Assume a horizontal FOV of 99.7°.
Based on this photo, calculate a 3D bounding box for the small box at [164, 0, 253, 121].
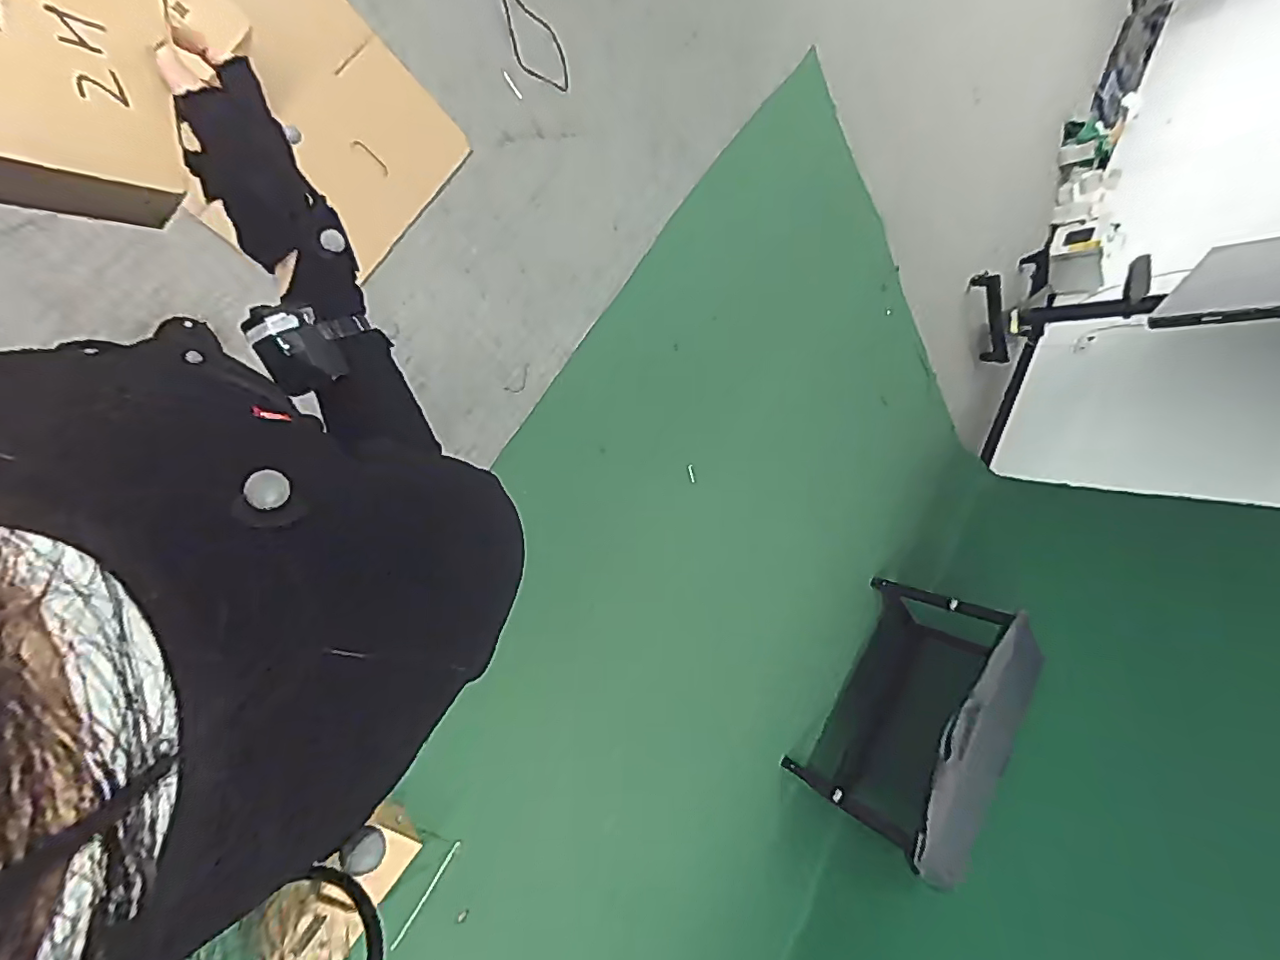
[{"bbox_3d":[-0.855,-0.819,1.001,0.168,0.176,0.179,35,74,-37],"label":"small box"}]

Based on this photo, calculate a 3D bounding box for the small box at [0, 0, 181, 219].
[{"bbox_3d":[-0.412,-0.275,0.334,0.179,0.176,0.168,-9,107,-44],"label":"small box"}]
